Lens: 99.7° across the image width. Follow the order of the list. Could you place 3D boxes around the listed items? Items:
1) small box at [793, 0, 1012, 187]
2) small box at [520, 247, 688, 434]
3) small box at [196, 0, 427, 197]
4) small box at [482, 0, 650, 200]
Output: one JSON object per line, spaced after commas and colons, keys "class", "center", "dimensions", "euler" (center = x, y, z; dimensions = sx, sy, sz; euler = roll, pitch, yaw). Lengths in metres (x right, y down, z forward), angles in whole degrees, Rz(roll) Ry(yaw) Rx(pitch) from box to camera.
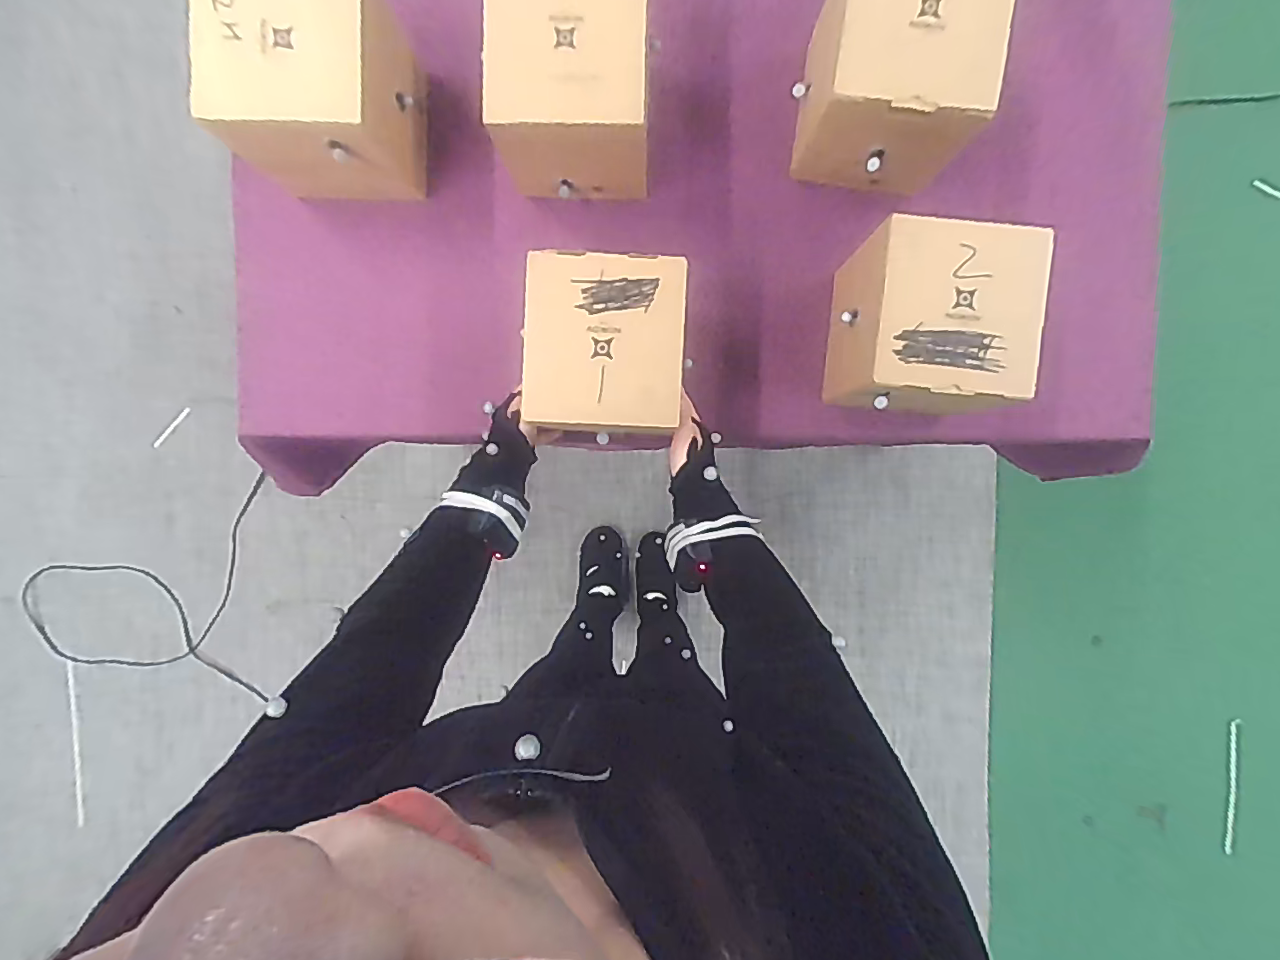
{"class": "small box", "center": [0.282, -0.463, 0.613], "dimensions": [0.168, 0.176, 0.179], "euler": [8, 93, 0]}
{"class": "small box", "center": [-0.037, -0.150, 0.632], "dimensions": [0.168, 0.176, 0.179], "euler": [3, 93, 1]}
{"class": "small box", "center": [-0.362, -0.450, 0.626], "dimensions": [0.179, 0.176, 0.168], "euler": [2, 92, 1]}
{"class": "small box", "center": [-0.074, -0.453, 0.623], "dimensions": [0.168, 0.176, 0.179], "euler": [2, 93, 2]}
